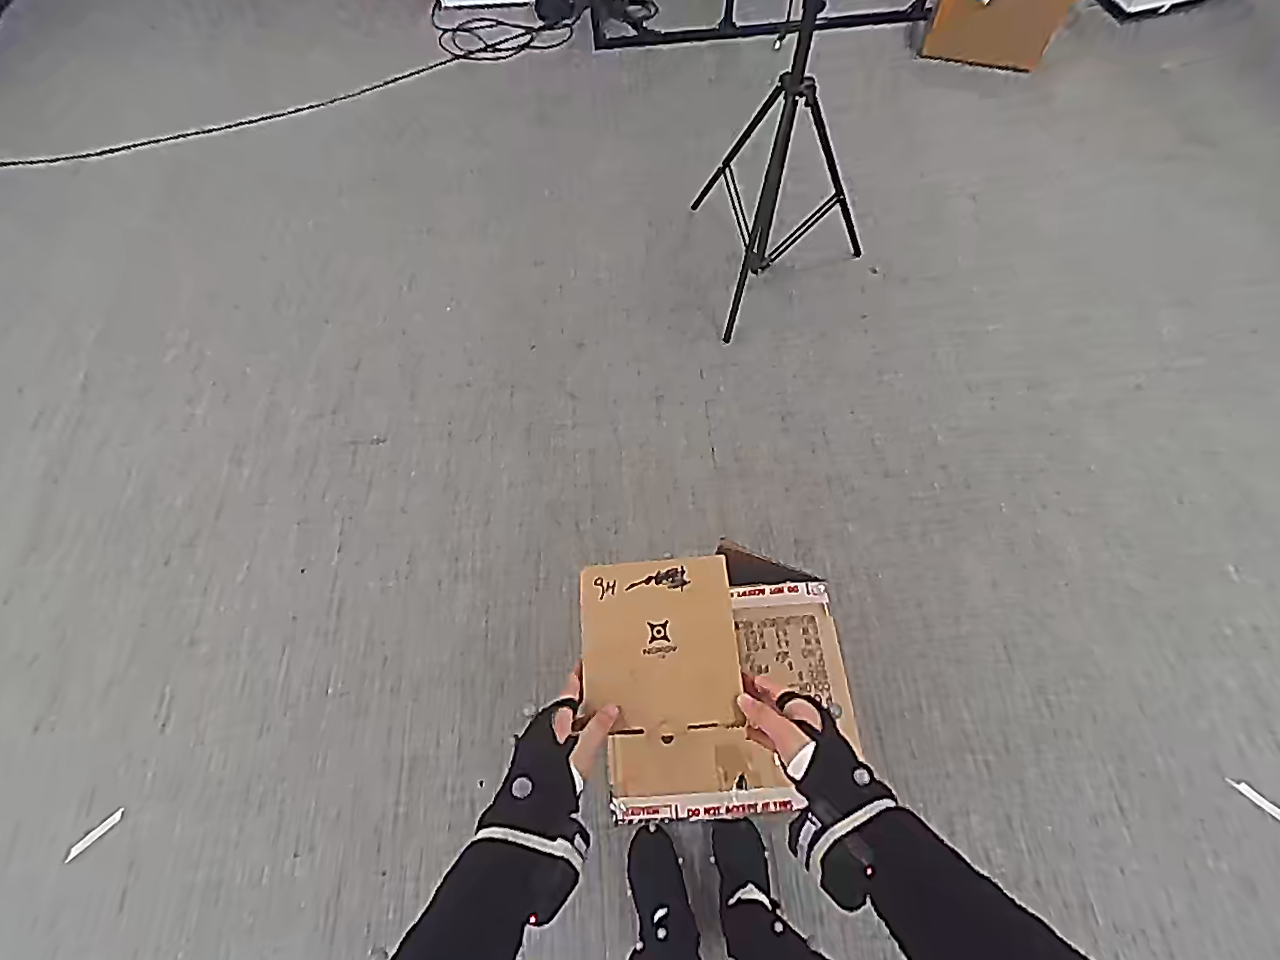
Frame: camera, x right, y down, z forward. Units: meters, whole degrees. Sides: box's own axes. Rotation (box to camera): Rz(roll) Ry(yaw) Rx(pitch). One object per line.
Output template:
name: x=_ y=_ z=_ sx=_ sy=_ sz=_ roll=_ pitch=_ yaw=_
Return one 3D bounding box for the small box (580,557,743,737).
small box: x=0.025 y=0.202 z=0.651 sx=0.168 sy=0.176 sz=0.179 roll=-6 pitch=68 yaw=2
